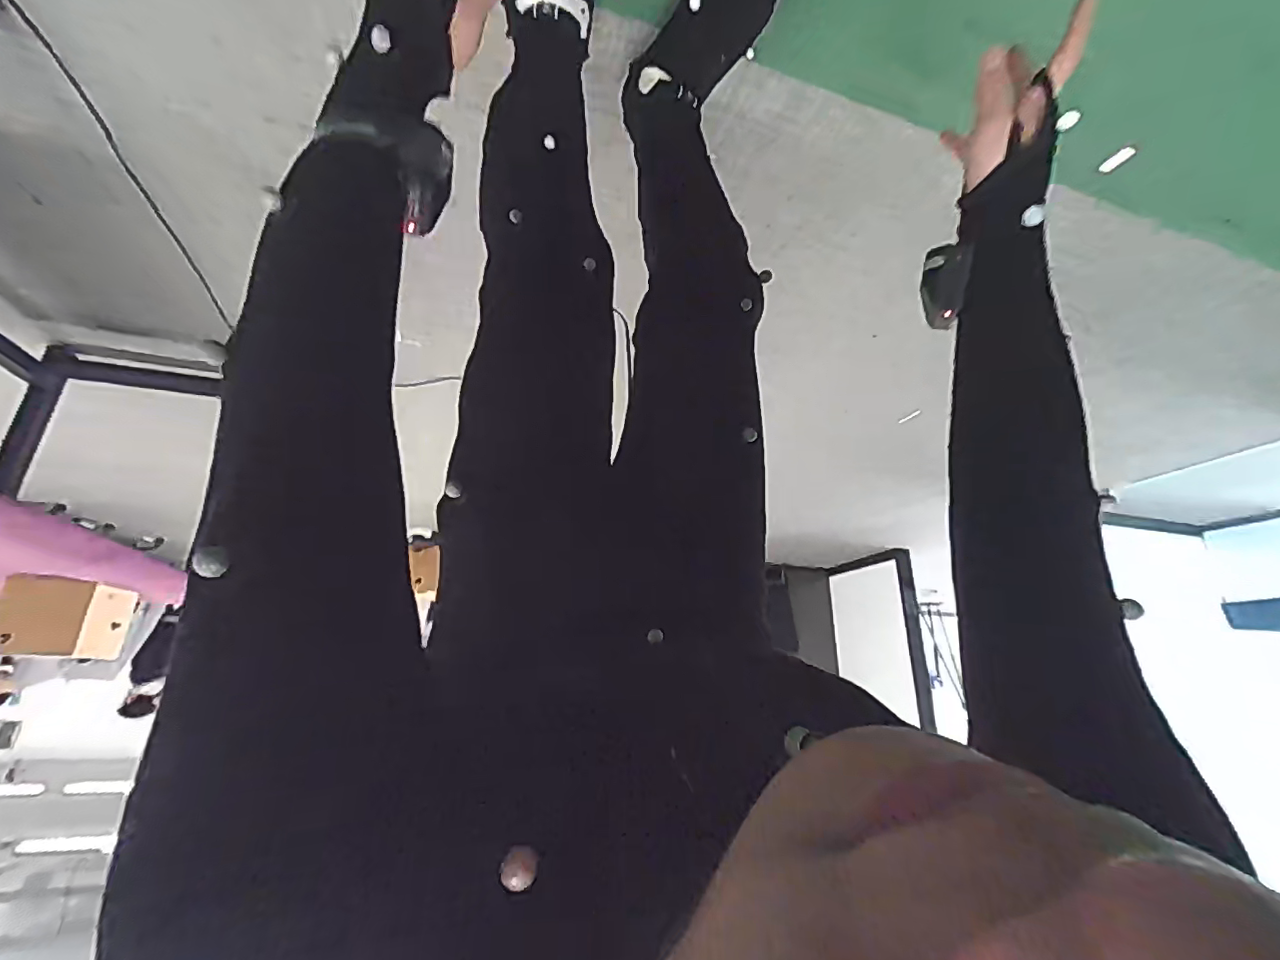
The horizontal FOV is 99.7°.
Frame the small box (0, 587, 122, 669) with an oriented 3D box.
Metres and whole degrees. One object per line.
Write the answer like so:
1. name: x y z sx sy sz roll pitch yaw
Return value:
1. small box: -1.345 0.342 1.238 0.179 0.176 0.168 7 158 -14
